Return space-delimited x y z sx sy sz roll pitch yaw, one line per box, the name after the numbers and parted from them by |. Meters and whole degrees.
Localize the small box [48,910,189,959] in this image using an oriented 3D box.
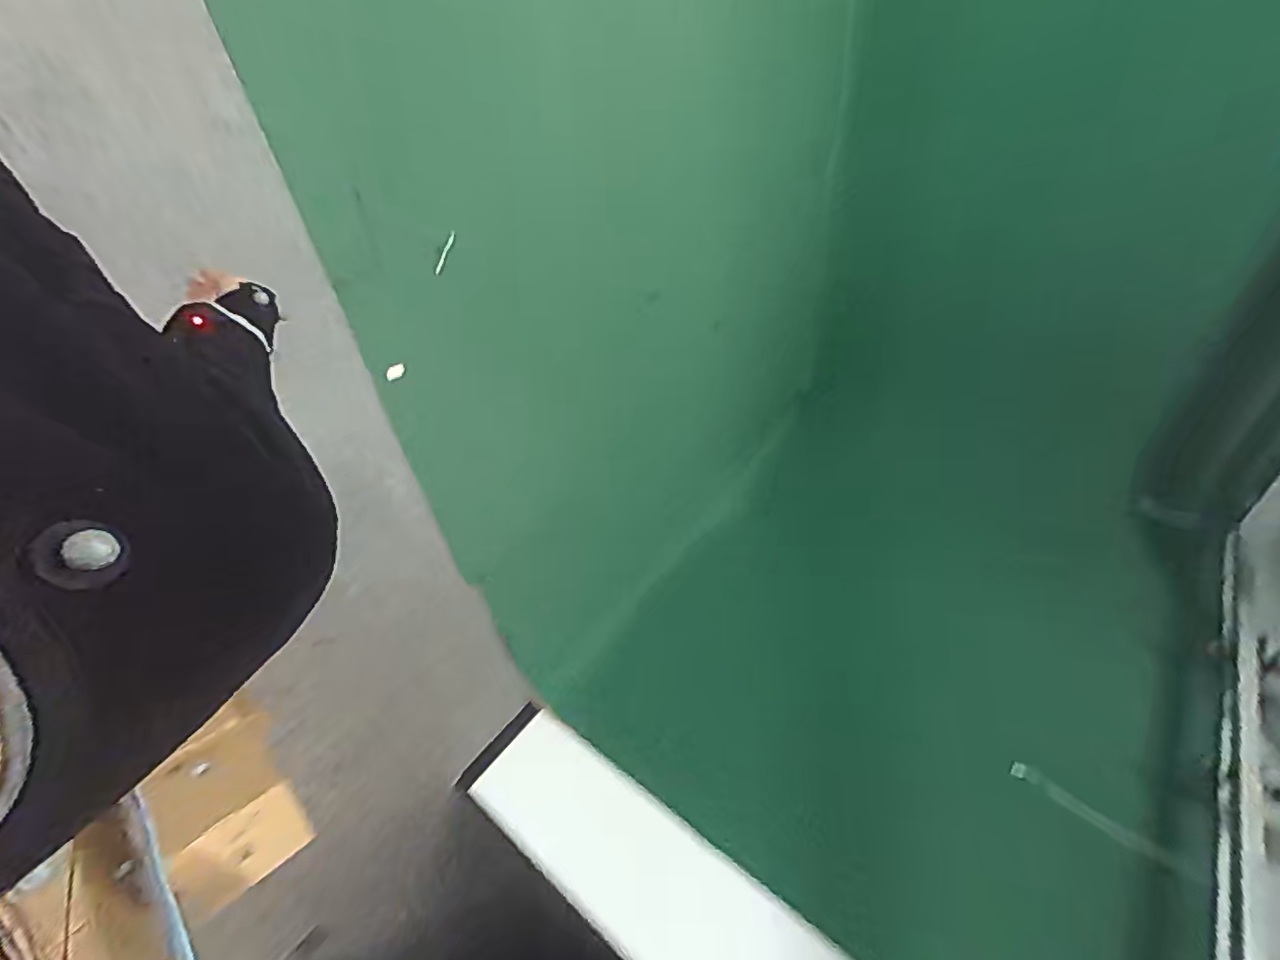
-0.686 0.693 0.672 0.179 0.176 0.168 -40 138 -34 | small box
